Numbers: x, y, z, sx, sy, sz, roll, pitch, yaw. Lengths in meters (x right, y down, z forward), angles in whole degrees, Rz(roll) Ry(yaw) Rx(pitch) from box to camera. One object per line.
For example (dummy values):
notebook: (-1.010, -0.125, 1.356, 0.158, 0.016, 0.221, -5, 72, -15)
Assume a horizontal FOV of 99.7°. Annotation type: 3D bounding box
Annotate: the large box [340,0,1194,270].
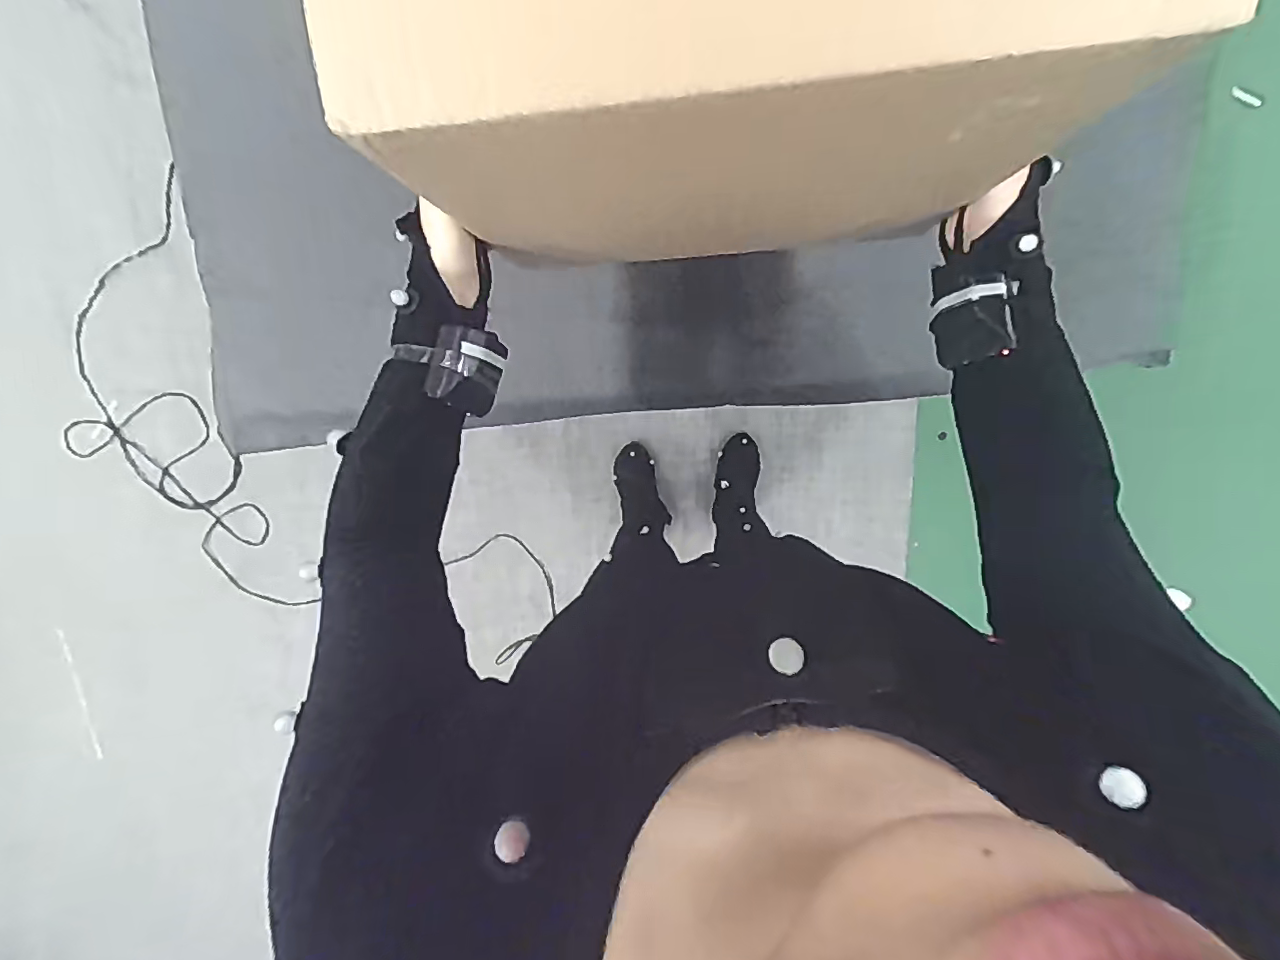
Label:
large box: (0.050, -0.361, 0.385, 0.408, 0.320, 0.320, -4, 100, 5)
